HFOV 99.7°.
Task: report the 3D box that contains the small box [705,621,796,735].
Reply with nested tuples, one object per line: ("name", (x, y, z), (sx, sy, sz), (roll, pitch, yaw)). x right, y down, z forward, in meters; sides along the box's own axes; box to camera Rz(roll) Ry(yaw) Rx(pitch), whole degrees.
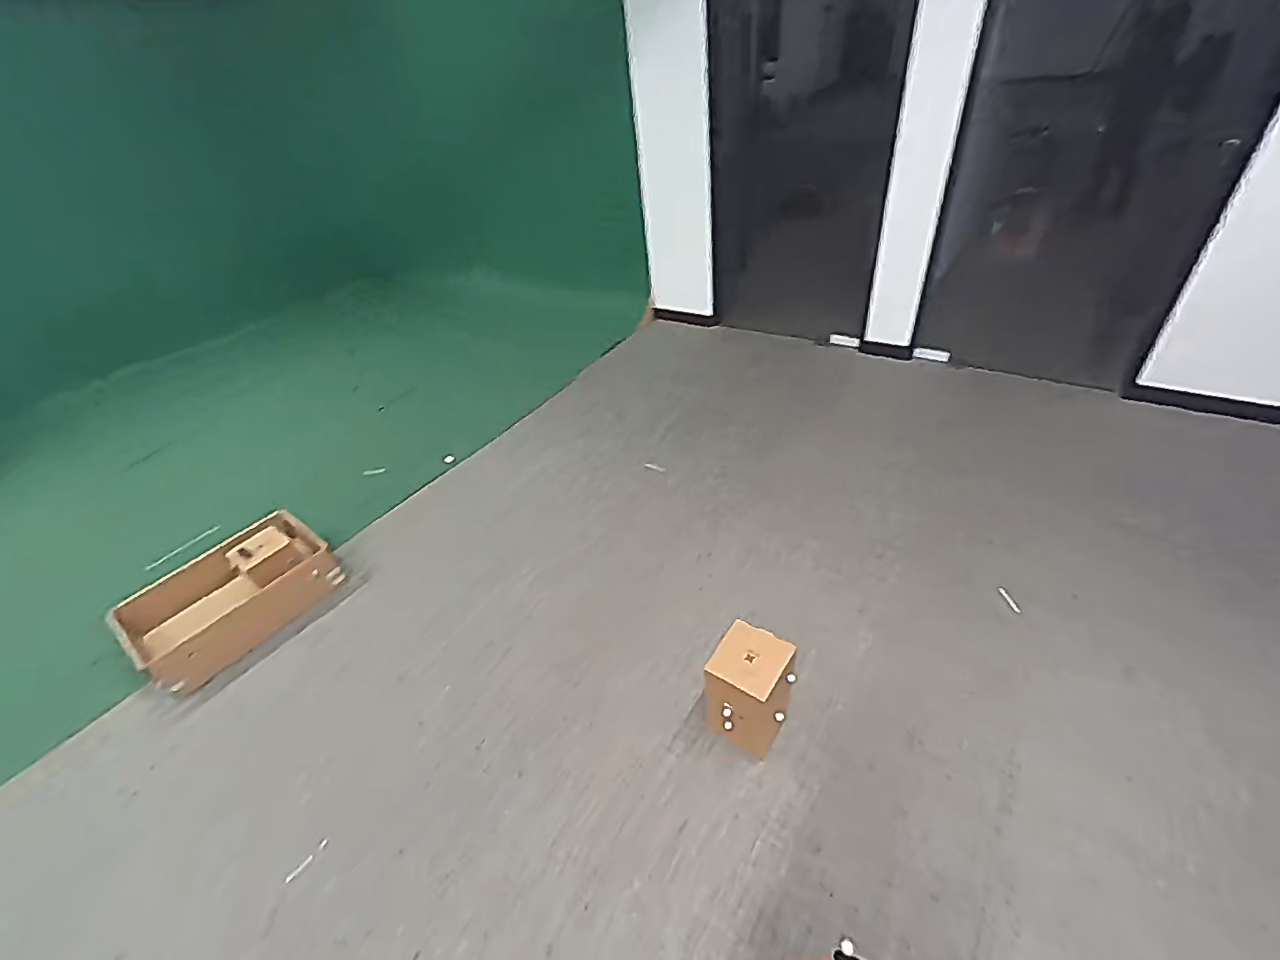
("small box", (0.279, 0.500, 1.369), (0.168, 0.176, 0.179), (20, 47, 32))

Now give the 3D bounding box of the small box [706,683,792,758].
("small box", (0.296, 0.619, 1.479), (0.179, 0.176, 0.168), (20, 46, 31))
